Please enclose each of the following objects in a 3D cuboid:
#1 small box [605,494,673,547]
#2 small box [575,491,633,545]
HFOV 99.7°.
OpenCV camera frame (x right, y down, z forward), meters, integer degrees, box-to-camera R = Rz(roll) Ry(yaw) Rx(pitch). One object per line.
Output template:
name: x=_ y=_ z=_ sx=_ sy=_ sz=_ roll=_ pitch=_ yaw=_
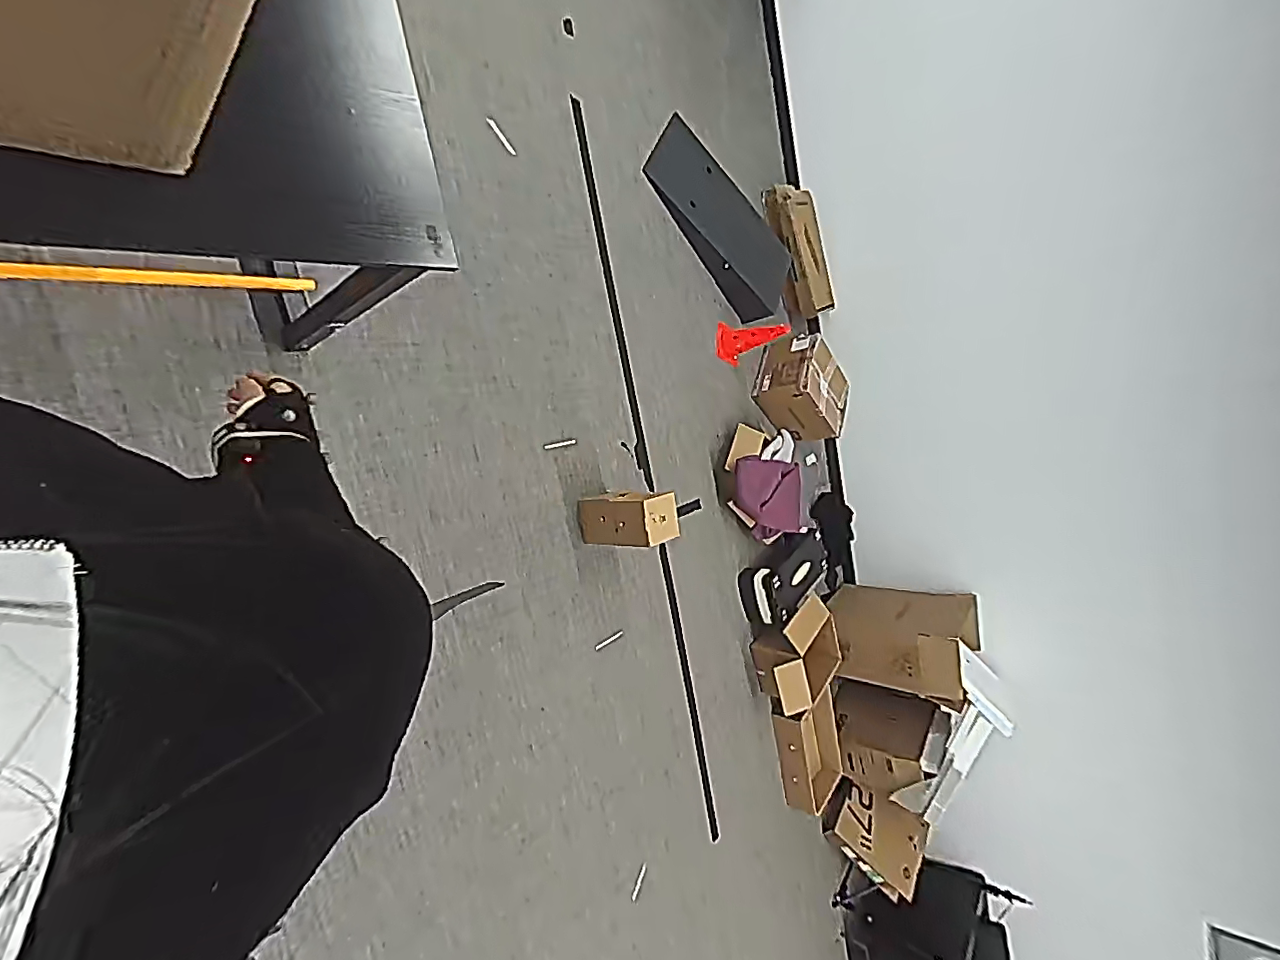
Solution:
small box: x=-0.004 y=0.142 z=1.962 sx=0.179 sy=0.176 sz=0.168 roll=-13 pitch=97 yaw=-48
small box: x=-0.132 y=0.144 z=2.066 sx=0.168 sy=0.176 sz=0.179 roll=-13 pitch=98 yaw=-48
